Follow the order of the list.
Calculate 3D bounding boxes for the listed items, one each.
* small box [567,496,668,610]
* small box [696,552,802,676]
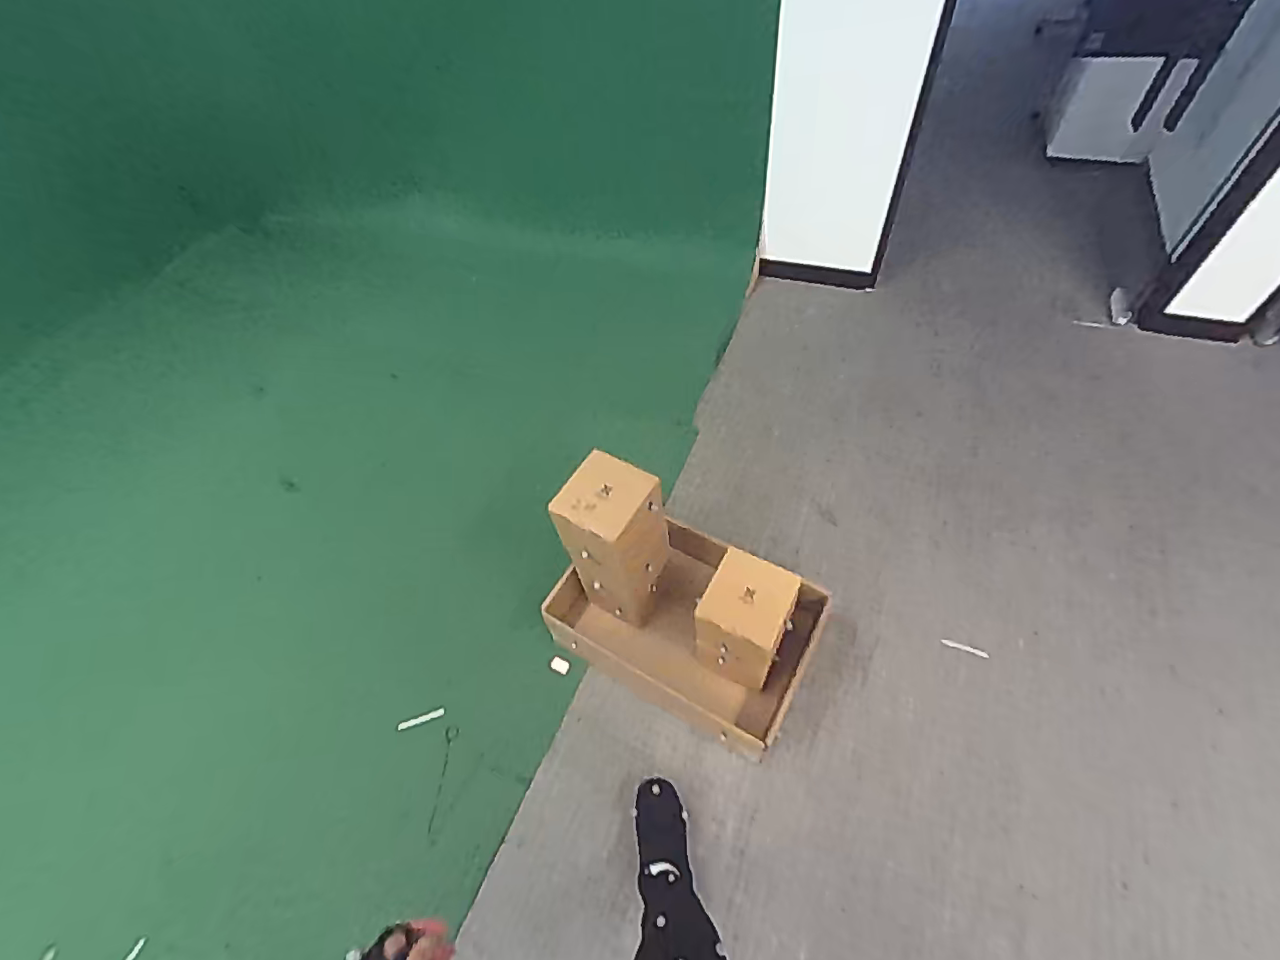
[{"bbox_3d":[-0.047,0.176,1.291,0.168,0.176,0.179,27,63,23],"label":"small box"},{"bbox_3d":[0.232,0.292,1.170,0.168,0.176,0.179,22,61,22],"label":"small box"}]
